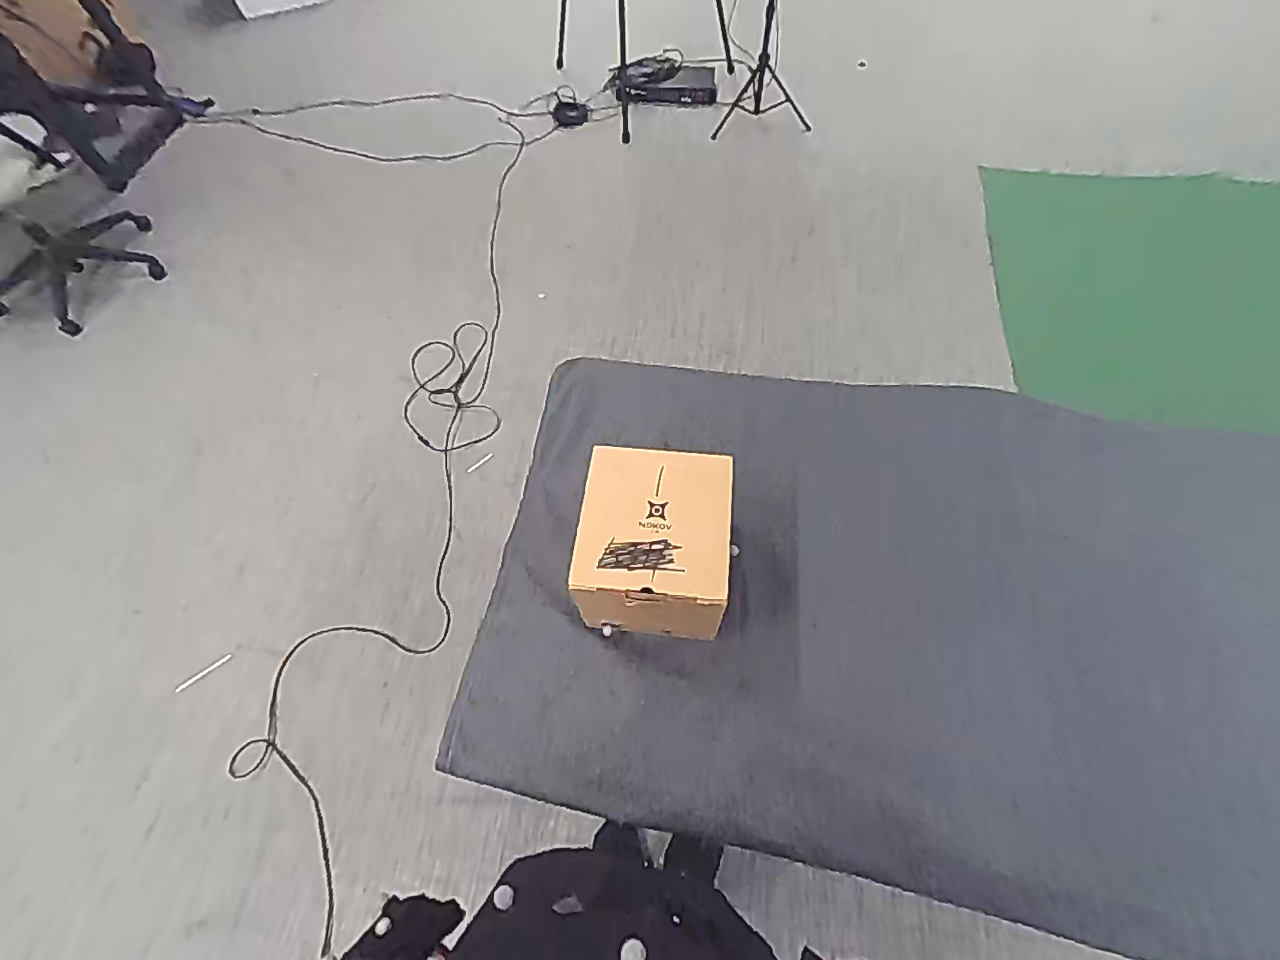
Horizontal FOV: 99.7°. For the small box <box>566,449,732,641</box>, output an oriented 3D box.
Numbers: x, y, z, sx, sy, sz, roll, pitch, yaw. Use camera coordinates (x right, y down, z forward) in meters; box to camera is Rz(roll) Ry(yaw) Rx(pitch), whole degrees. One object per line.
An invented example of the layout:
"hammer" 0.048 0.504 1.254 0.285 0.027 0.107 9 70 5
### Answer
"small box" 0.018 0.085 0.651 0.168 0.176 0.179 5 60 5
